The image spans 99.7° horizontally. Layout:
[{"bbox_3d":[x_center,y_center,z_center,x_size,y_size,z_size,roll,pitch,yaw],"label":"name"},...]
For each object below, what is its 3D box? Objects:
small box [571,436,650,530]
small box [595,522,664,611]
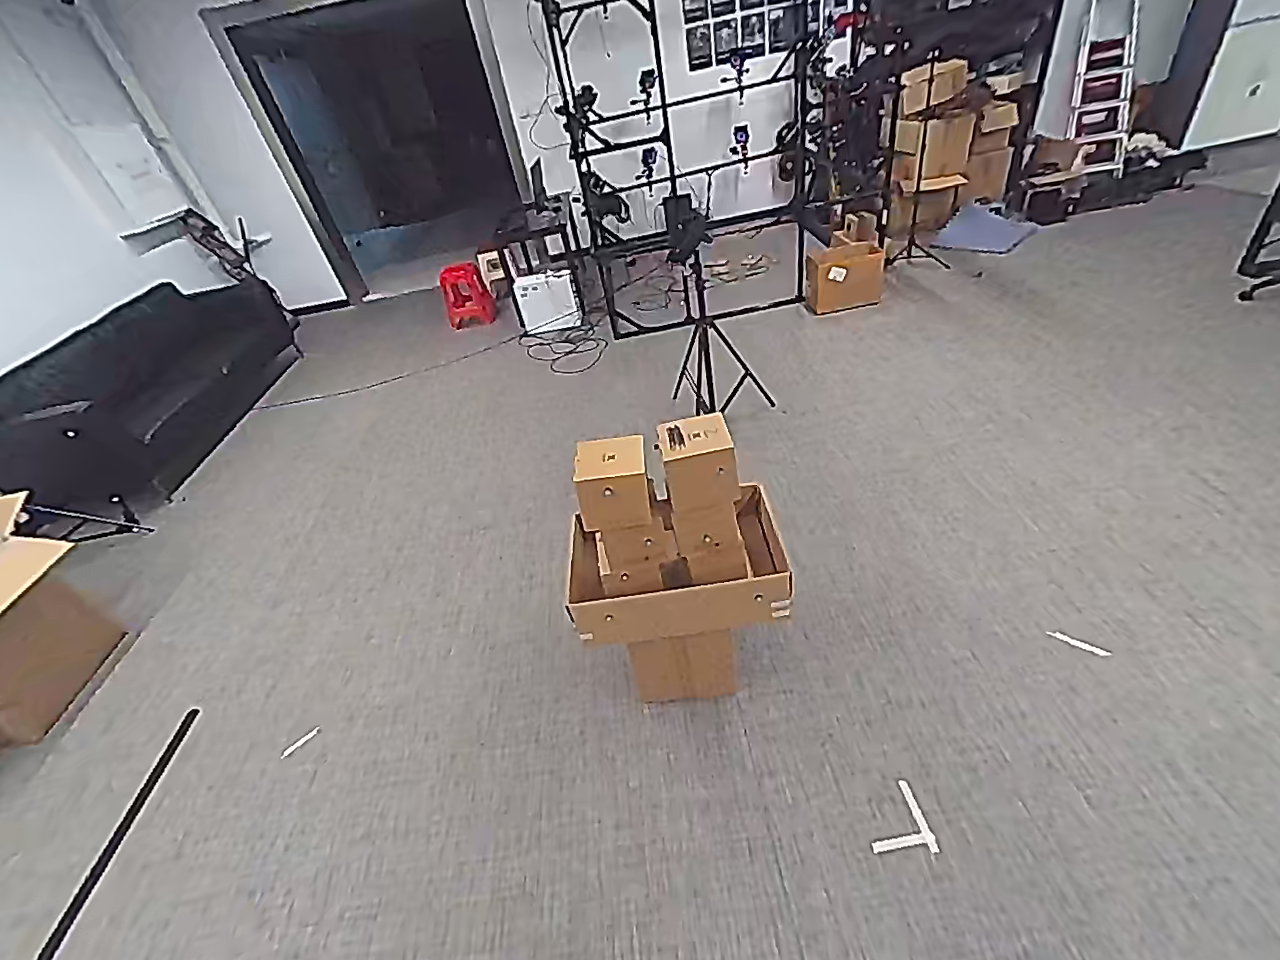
[{"bbox_3d":[-0.068,0.009,1.387,0.179,0.176,0.168,-8,38,4],"label":"small box"},{"bbox_3d":[-0.032,0.255,1.597,0.168,0.176,0.179,-13,38,0],"label":"small box"}]
